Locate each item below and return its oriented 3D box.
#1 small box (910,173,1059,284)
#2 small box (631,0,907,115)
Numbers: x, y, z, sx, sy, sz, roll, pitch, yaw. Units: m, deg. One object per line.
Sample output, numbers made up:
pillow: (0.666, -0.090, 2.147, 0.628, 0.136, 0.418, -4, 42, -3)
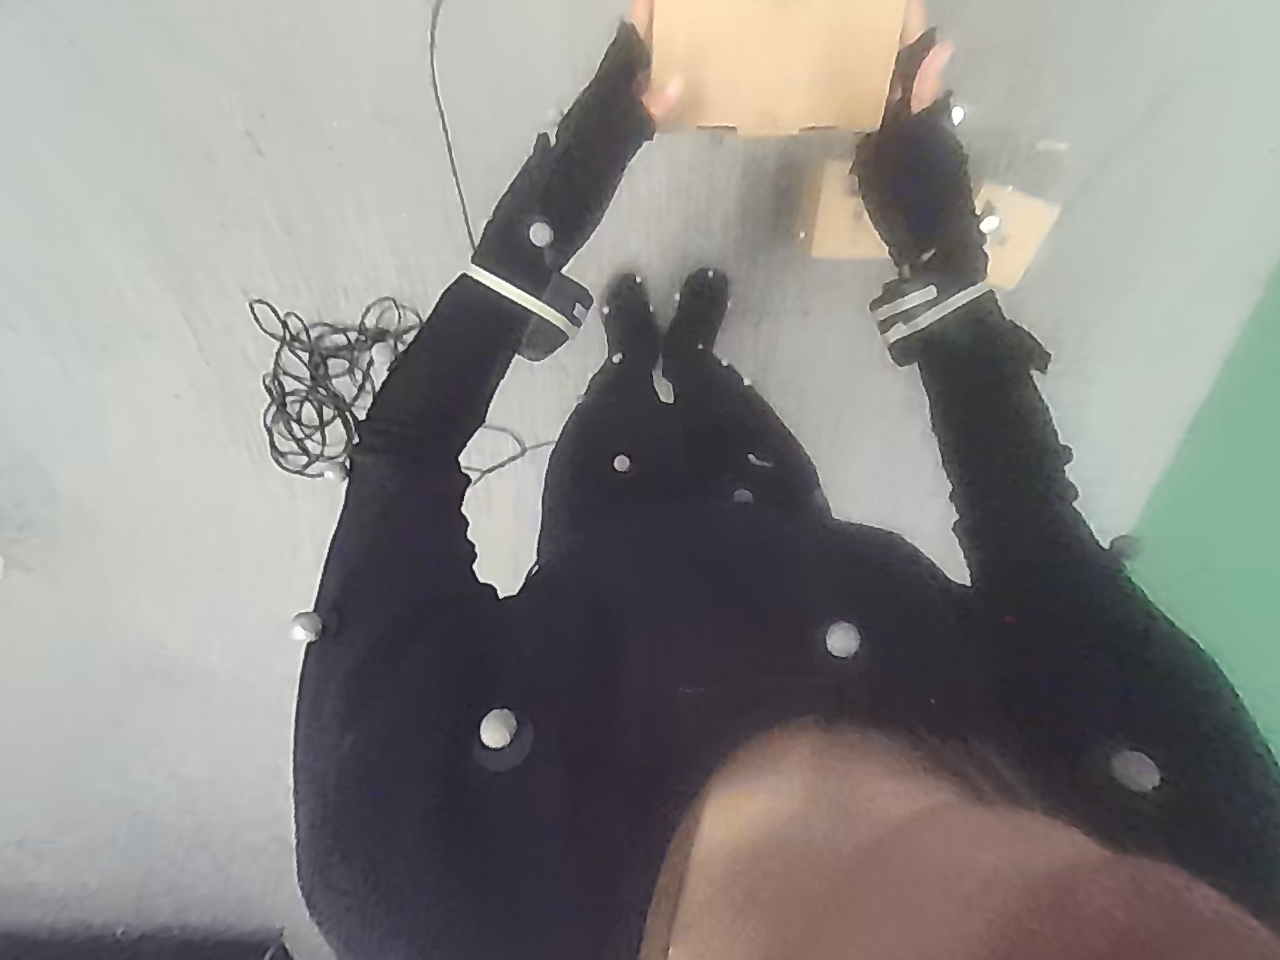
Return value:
small box: (0.717, -0.536, 1.153, 0.179, 0.176, 0.168, 14, 118, -8)
small box: (0.080, -0.367, 0.385, 0.168, 0.176, 0.179, -3, 125, -4)
